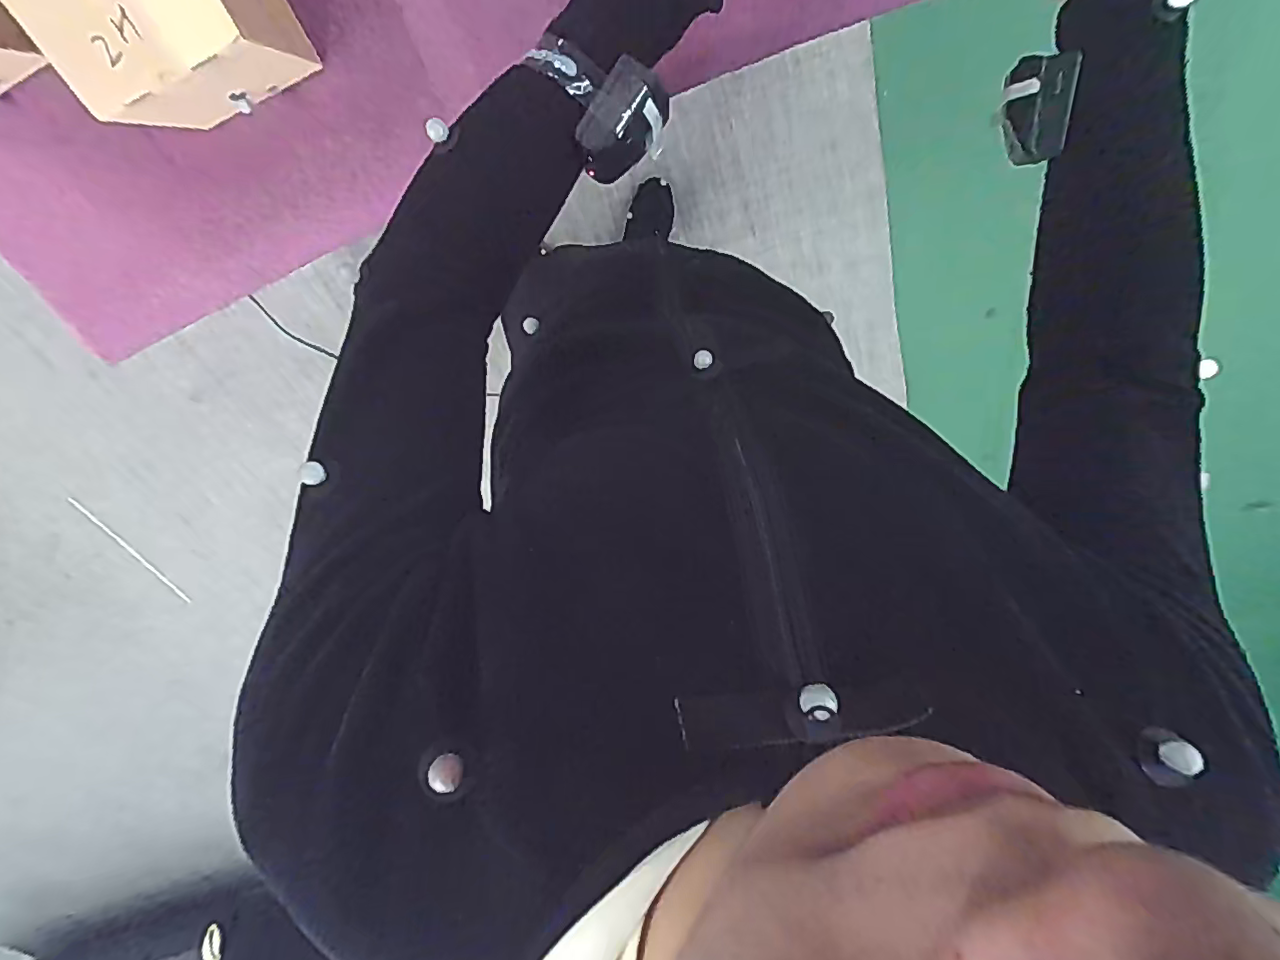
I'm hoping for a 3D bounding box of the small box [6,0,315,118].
[{"bbox_3d":[-0.459,-0.470,0.507,0.168,0.176,0.179,-20,121,8],"label":"small box"}]
